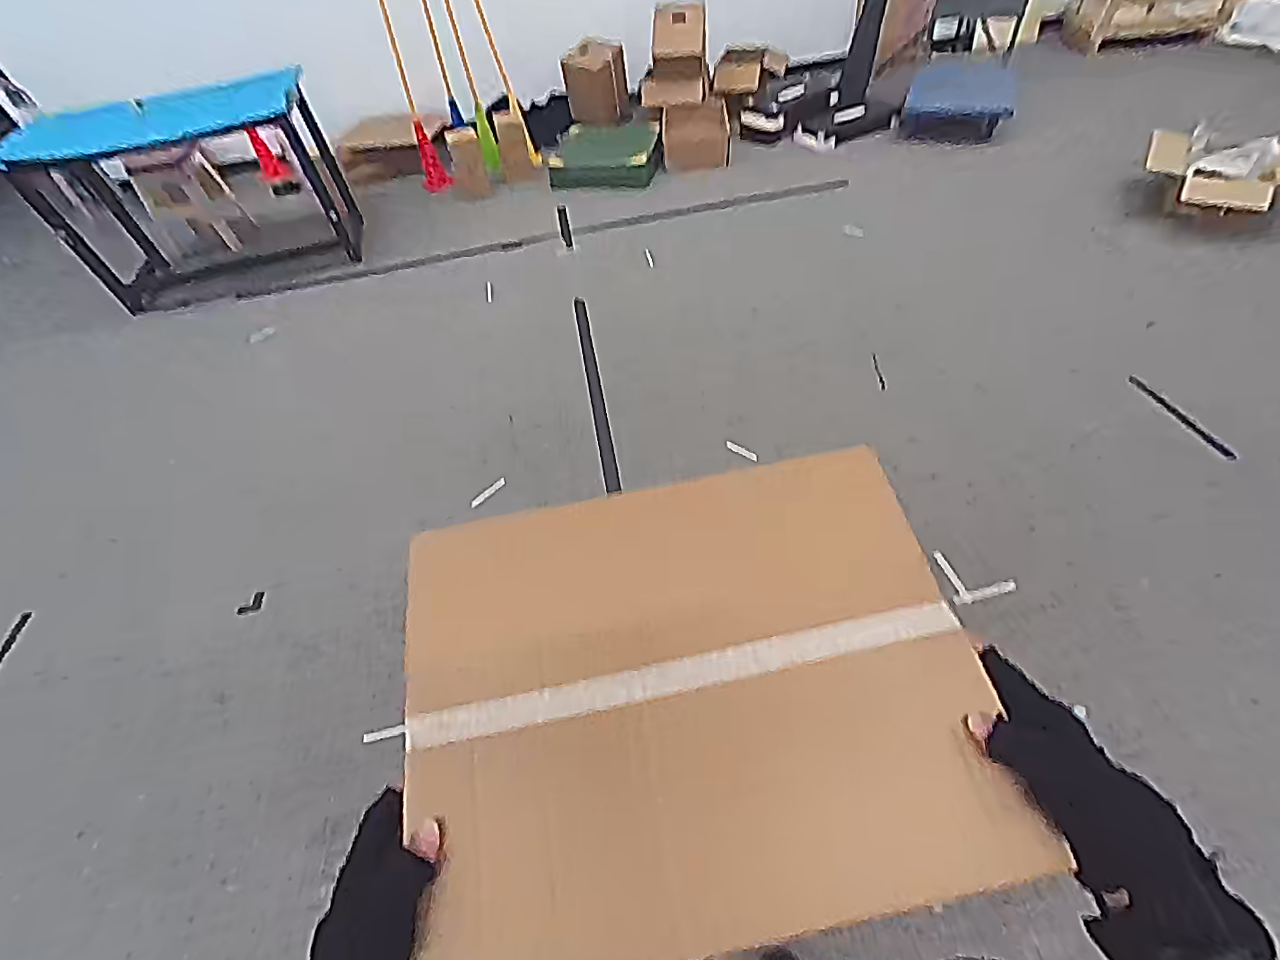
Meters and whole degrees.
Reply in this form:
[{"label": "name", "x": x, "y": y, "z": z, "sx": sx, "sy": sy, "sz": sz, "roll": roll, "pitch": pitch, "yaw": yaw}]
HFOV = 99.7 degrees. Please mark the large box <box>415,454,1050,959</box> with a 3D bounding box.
[{"label": "large box", "x": 0.044, "y": 0.218, "z": 0.526, "sx": 0.408, "sy": 0.320, "sz": 0.320, "roll": -12, "pitch": 60, "yaw": -2}]
